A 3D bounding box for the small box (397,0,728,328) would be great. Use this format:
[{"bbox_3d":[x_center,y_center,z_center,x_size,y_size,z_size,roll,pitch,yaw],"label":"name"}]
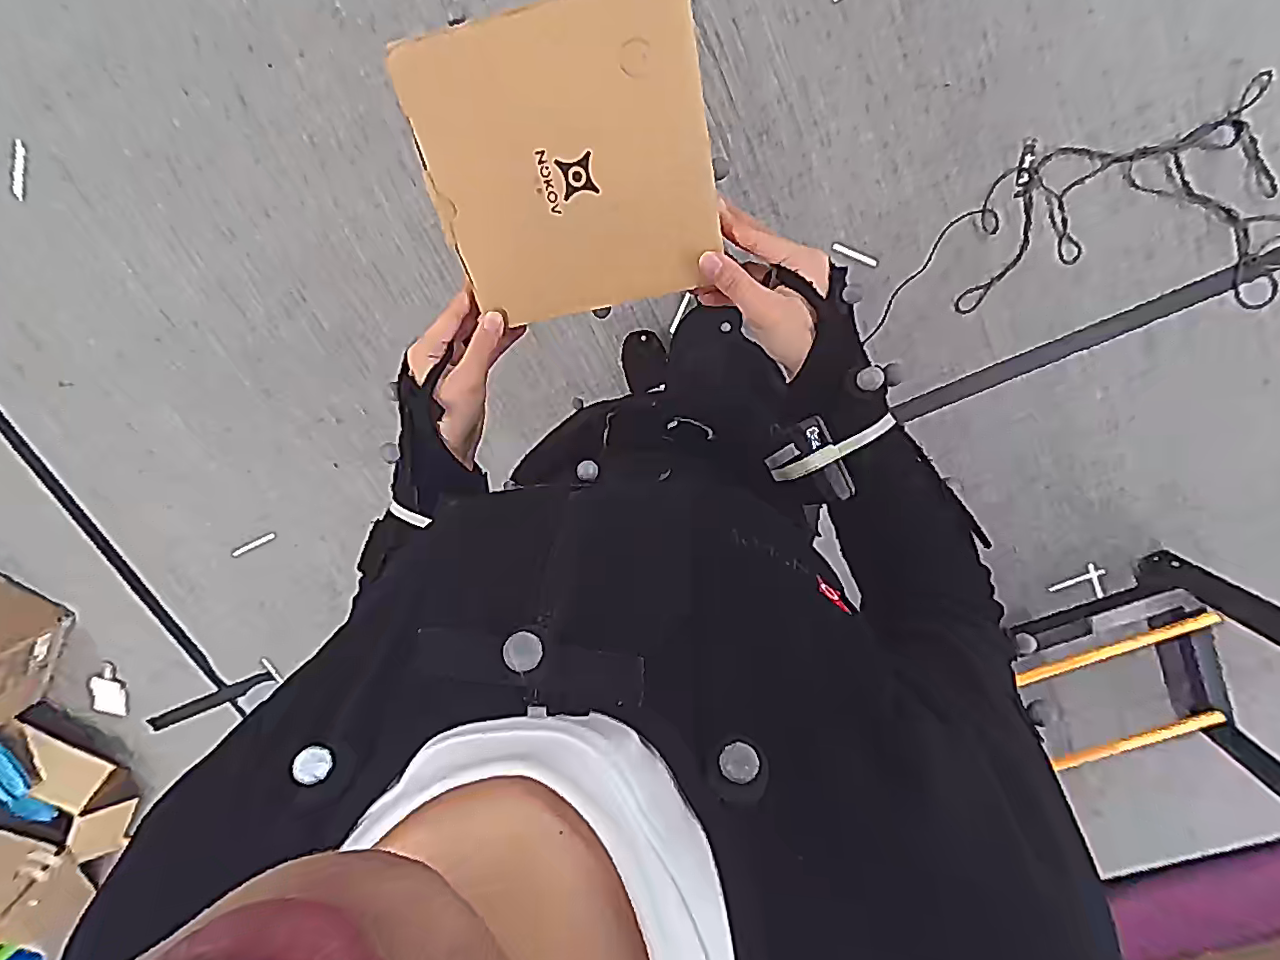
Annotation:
[{"bbox_3d":[-0.037,-0.234,0.403,0.179,0.176,0.168,-8,124,9],"label":"small box"}]
